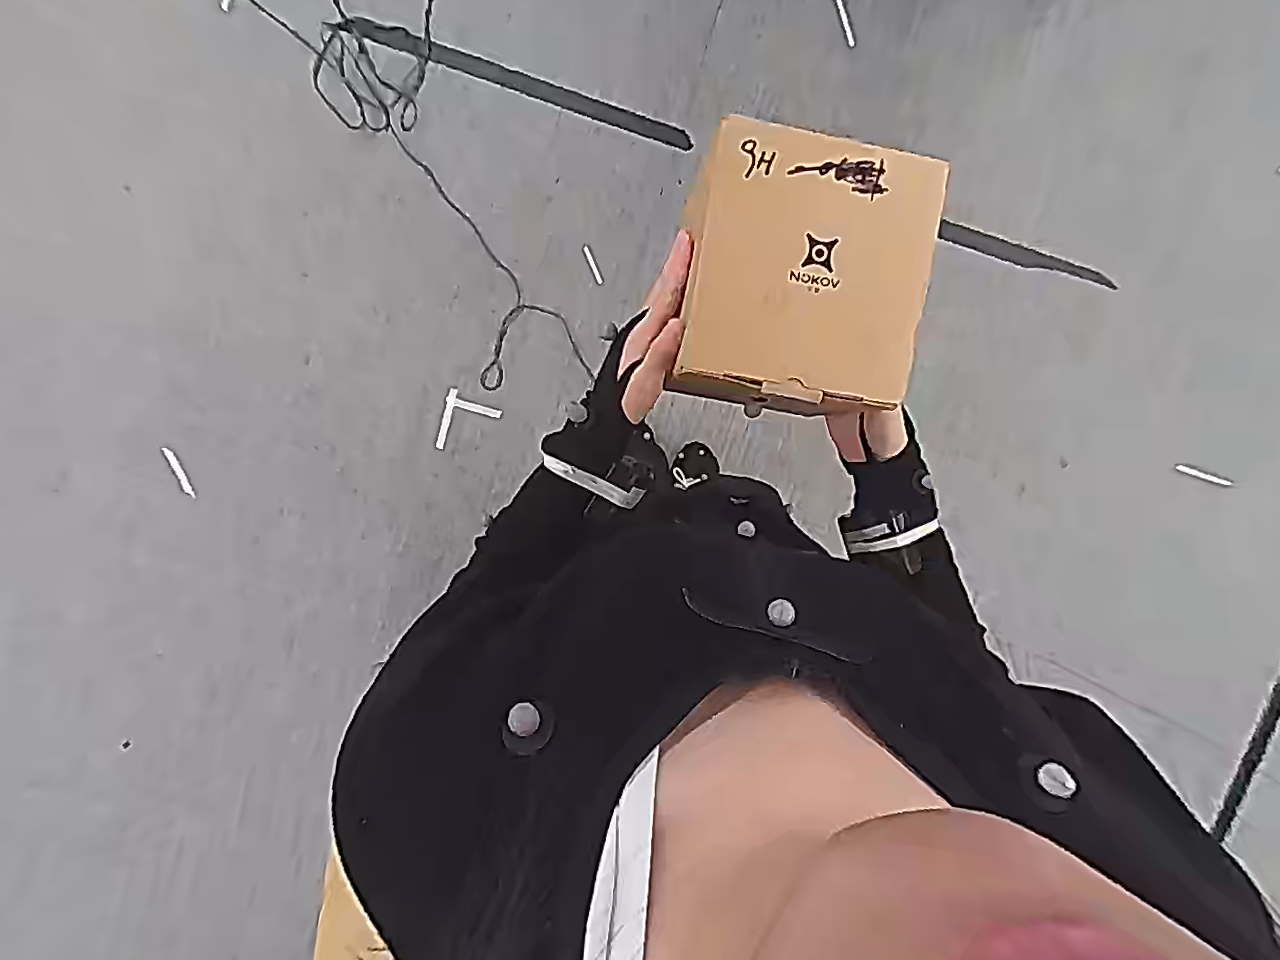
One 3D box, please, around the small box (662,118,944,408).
[{"bbox_3d":[0.116,-0.159,0.463,0.168,0.176,0.179,9,95,-5],"label":"small box"}]
